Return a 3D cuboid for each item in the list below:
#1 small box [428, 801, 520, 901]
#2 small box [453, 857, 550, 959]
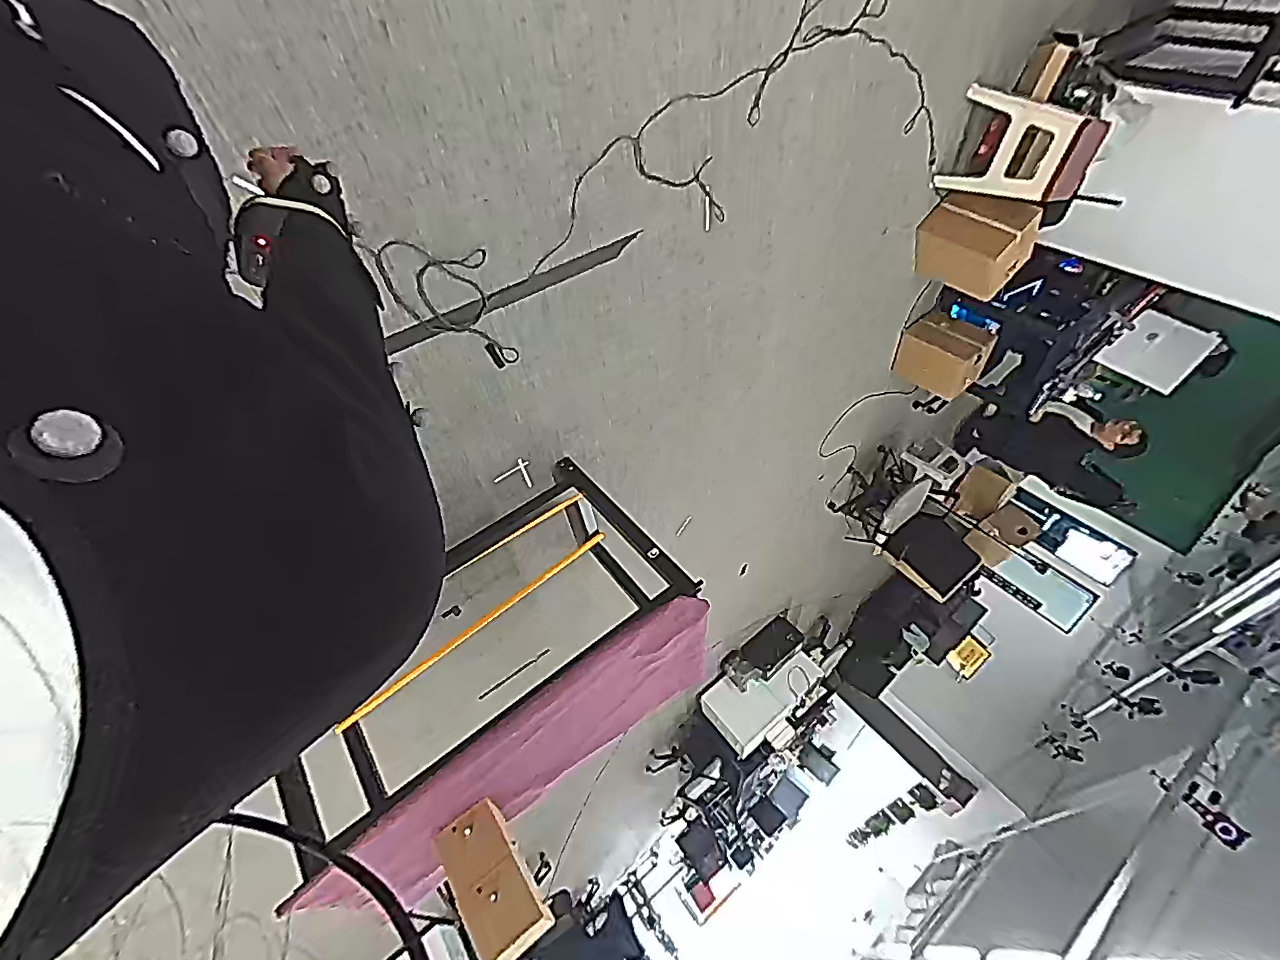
[{"bbox_3d":[-0.455,1.025,1.489,0.168,0.176,0.179,-31,142,-24],"label":"small box"},{"bbox_3d":[-0.356,1.119,1.396,0.168,0.176,0.179,-32,143,-24],"label":"small box"}]
